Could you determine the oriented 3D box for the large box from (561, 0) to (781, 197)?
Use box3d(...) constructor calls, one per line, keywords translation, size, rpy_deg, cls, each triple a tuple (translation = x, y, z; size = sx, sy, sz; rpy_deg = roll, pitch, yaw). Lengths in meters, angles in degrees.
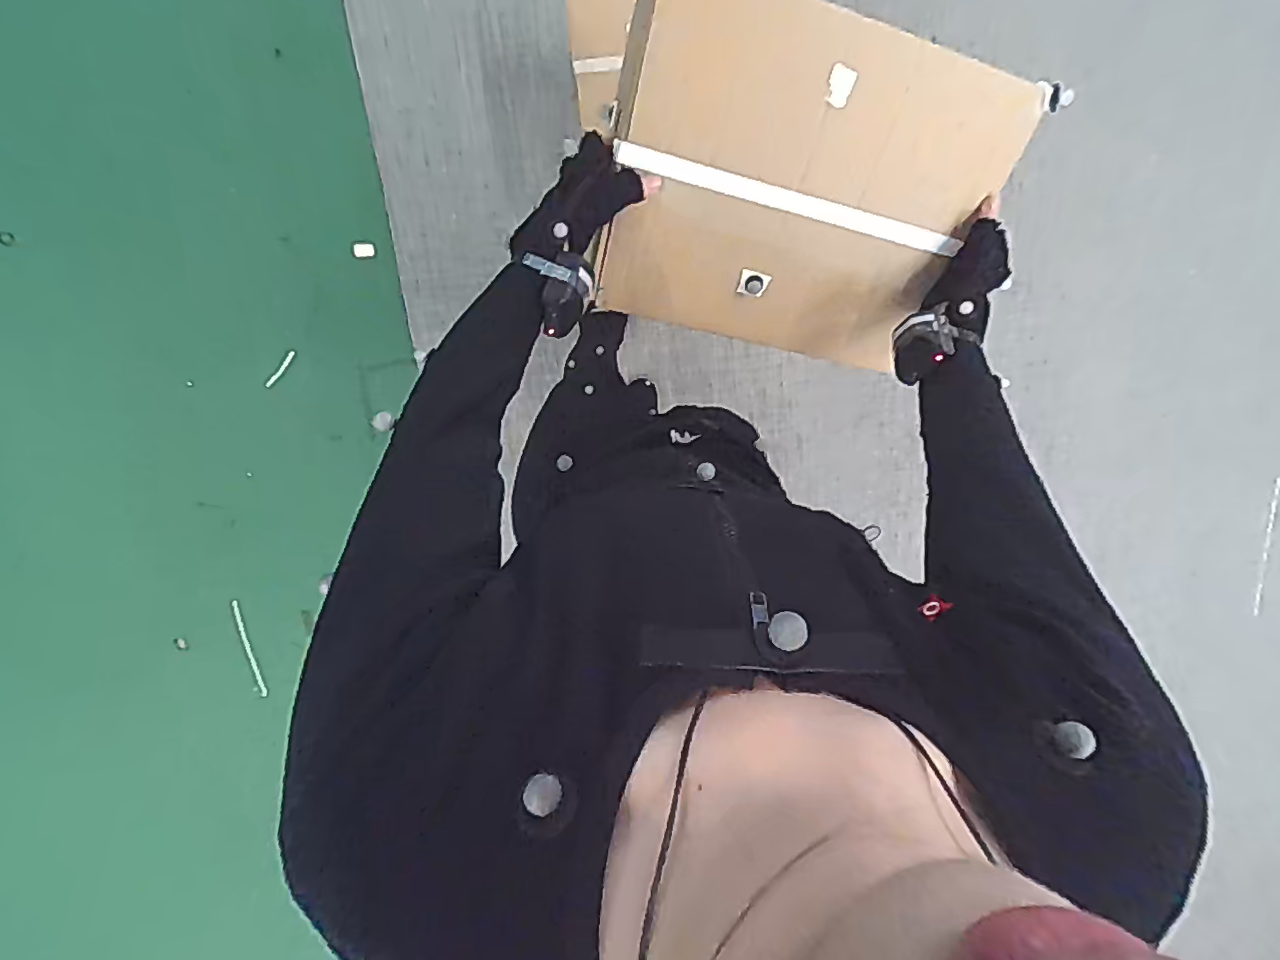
box3d(translation=(0.059, -0.829, 1.164), size=(0.408, 0.320, 0.320), rpy_deg=(-6, 104, -2), cls="large box")
